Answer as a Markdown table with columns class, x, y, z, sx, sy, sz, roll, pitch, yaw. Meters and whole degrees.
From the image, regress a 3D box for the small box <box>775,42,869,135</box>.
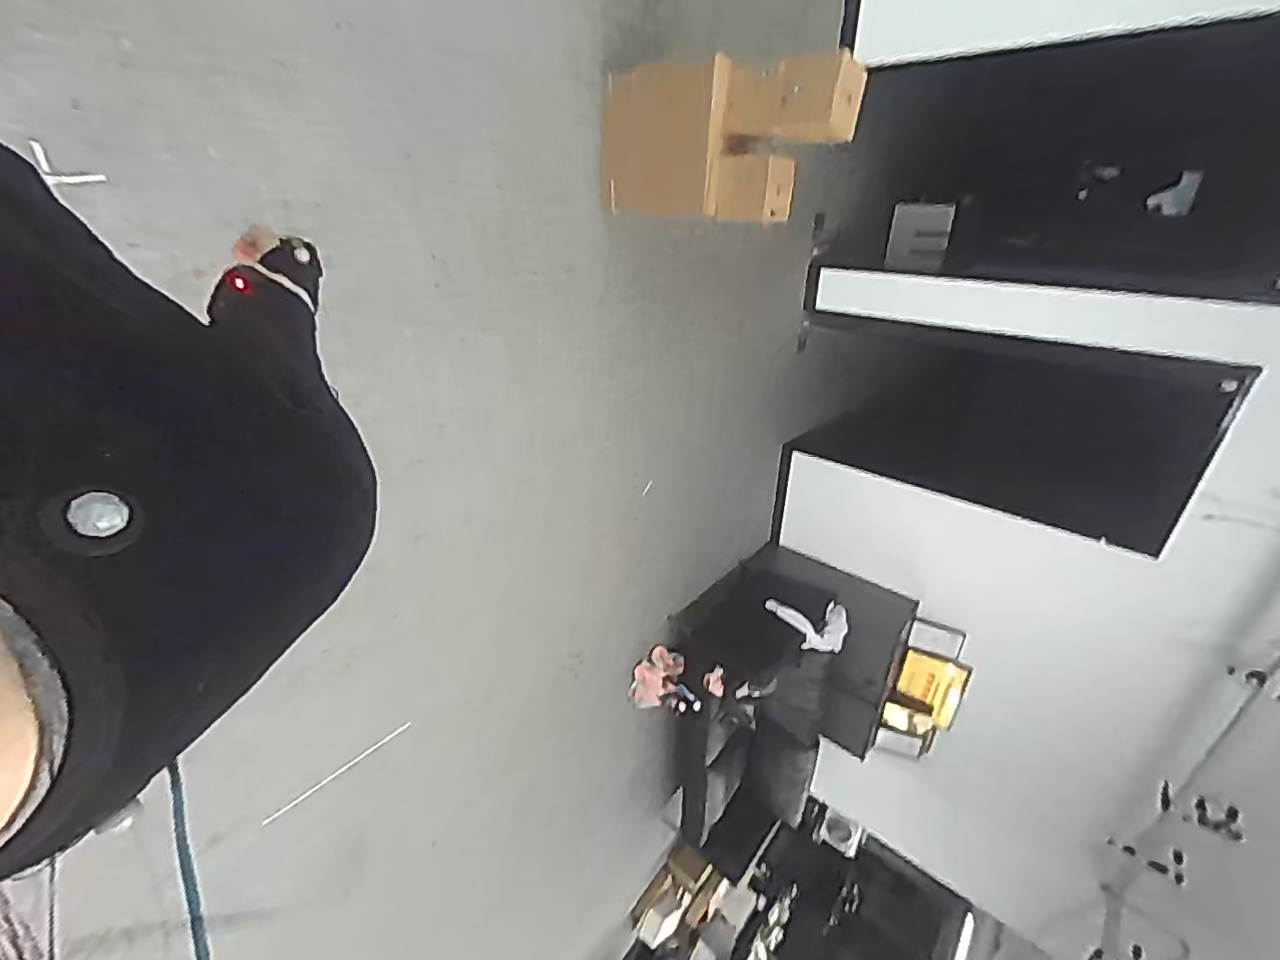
| class | x | y | z | sx | sy | sz | roll | pitch | yaw |
| --- | --- | --- | --- | --- | --- | --- | --- | --- | --- |
| small box | 0.499 | -1.066 | 1.487 | 0.179 | 0.176 | 0.168 | -16 | 121 | -47 |
